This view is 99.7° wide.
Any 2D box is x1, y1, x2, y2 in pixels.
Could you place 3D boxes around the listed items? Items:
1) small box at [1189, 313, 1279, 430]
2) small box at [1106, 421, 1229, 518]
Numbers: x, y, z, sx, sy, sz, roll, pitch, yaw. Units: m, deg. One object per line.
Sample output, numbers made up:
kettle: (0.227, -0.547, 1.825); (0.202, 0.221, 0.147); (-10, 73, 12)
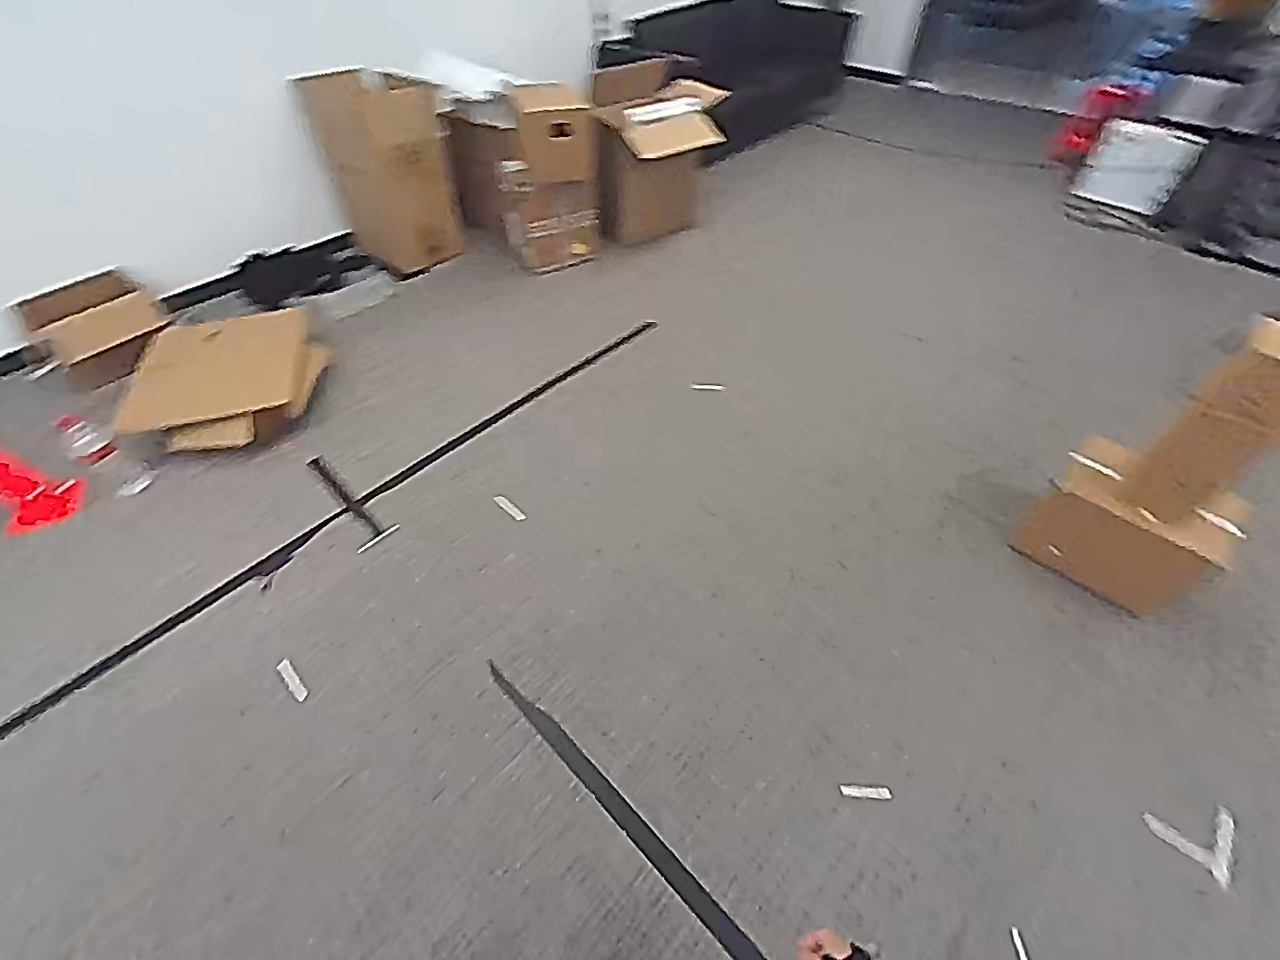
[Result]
small box: (1.438, -0.251, 1.253); (0.168, 0.176, 0.179); (34, 59, 27)
small box: (1.444, -0.026, 1.490); (0.179, 0.176, 0.168); (33, 58, 26)
